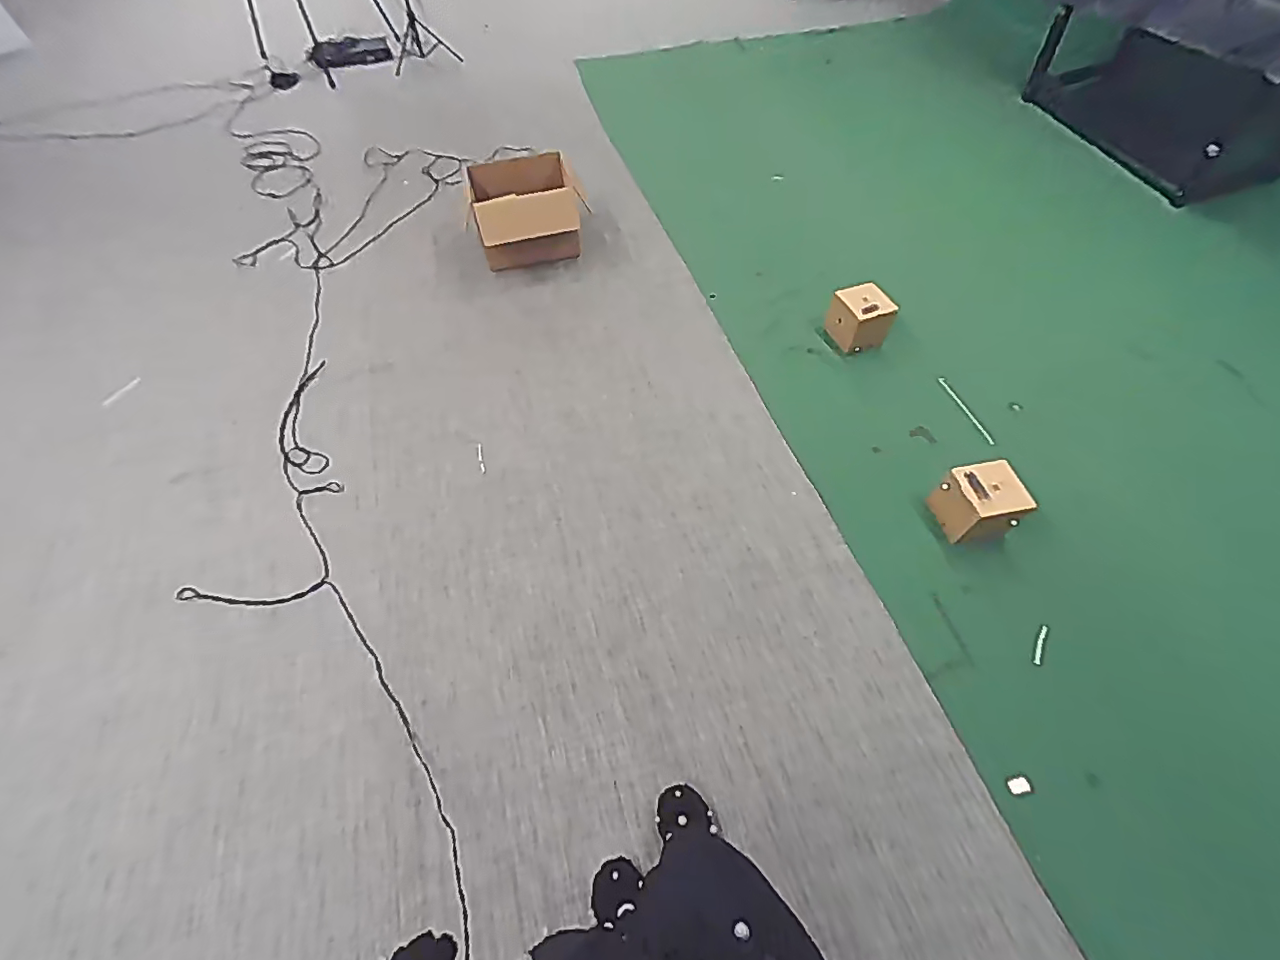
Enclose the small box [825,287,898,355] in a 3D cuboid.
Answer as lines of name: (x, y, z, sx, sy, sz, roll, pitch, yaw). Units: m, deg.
small box: (0.823, -0.589, 2.028, 0.168, 0.176, 0.179, -17, 56, -10)
